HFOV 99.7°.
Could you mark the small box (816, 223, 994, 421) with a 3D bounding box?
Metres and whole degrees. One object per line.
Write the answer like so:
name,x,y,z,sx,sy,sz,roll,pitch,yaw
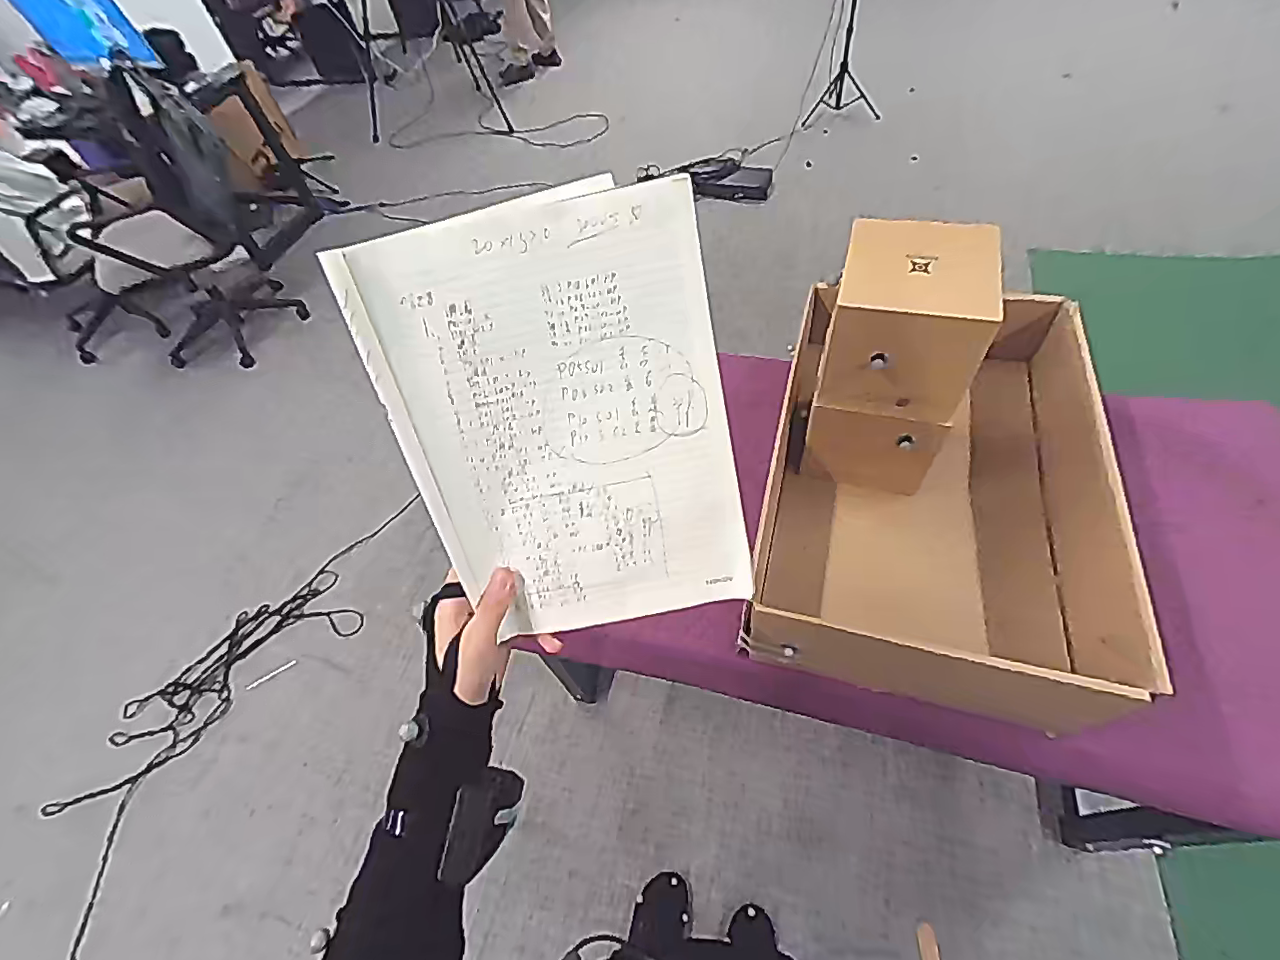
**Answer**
small box,0.326,-0.197,0.687,0.168,0.176,0.179,11,57,16
